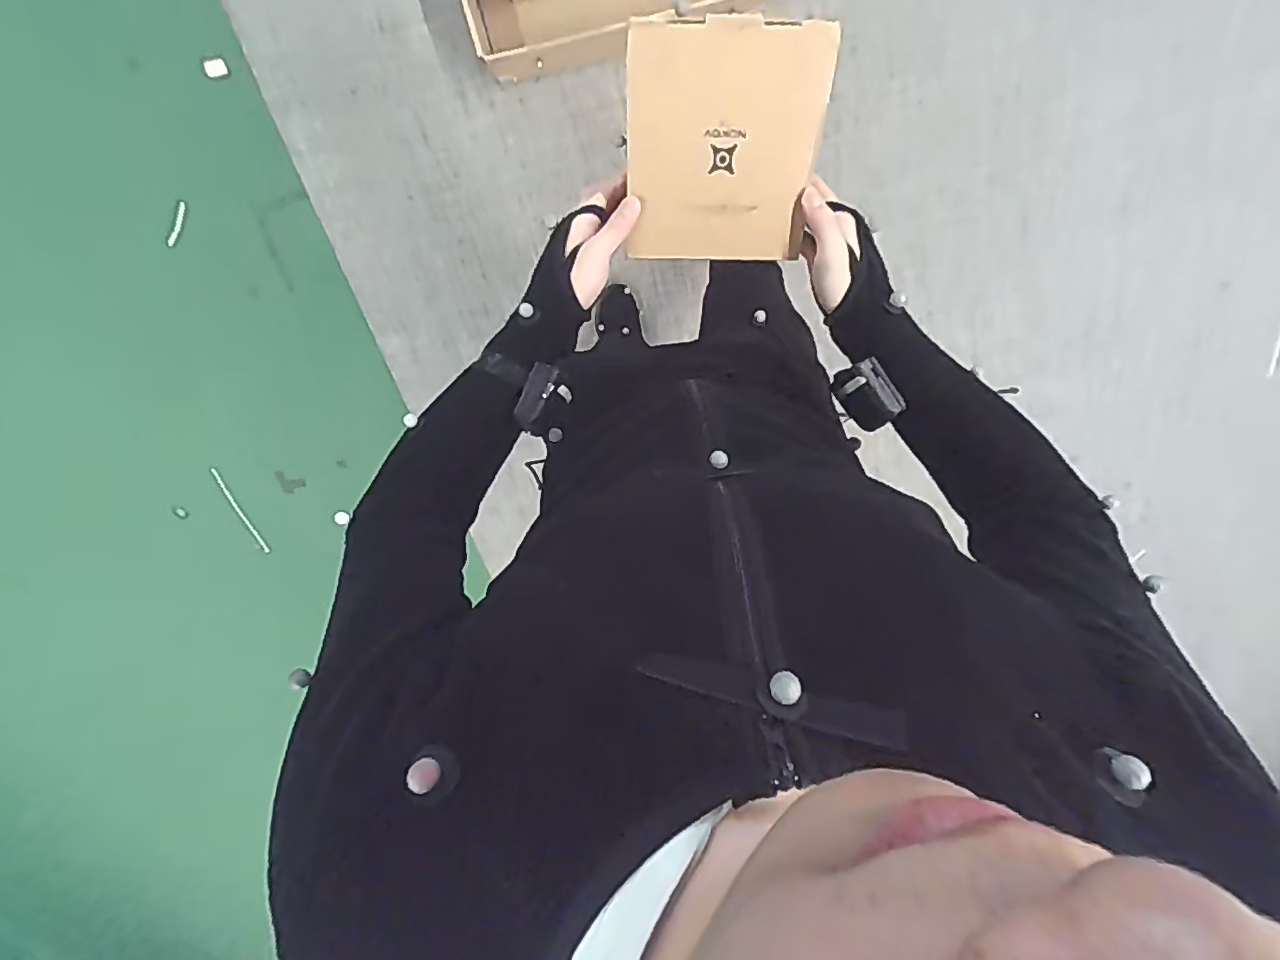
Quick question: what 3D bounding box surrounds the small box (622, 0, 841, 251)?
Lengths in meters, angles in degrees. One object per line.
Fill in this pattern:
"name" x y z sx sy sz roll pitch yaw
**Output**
"small box" 0.066 -0.333 0.515 0.168 0.176 0.179 1 128 -1
